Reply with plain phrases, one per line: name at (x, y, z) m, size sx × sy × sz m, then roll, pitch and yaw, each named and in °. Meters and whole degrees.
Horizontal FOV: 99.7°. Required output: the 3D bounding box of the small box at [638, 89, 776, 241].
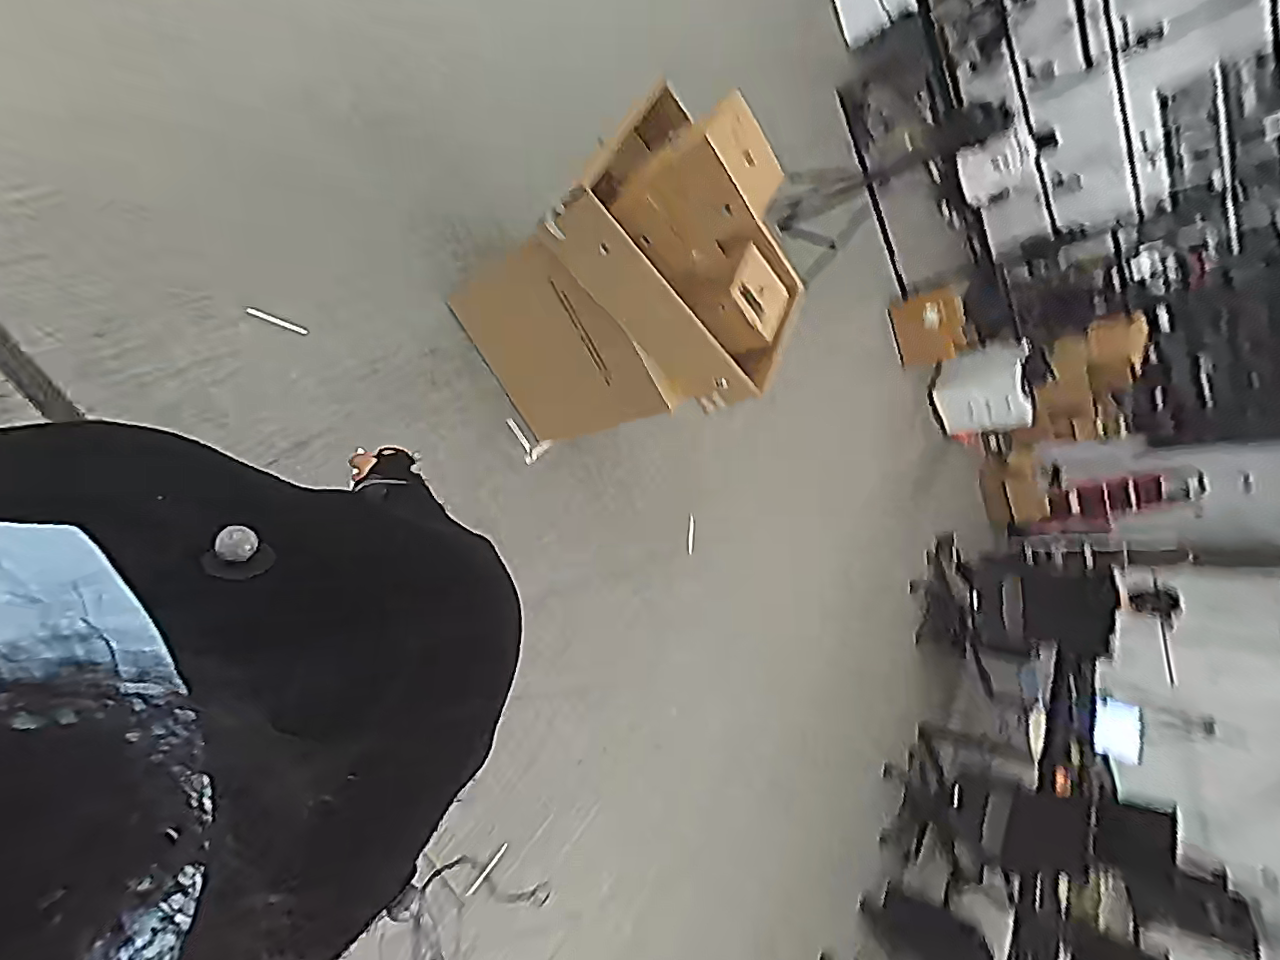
small box at (0.130, -0.597, 1.053) m, size 0.179 × 0.176 × 0.168 m, roll 45°, pitch 59°, yaw -30°
